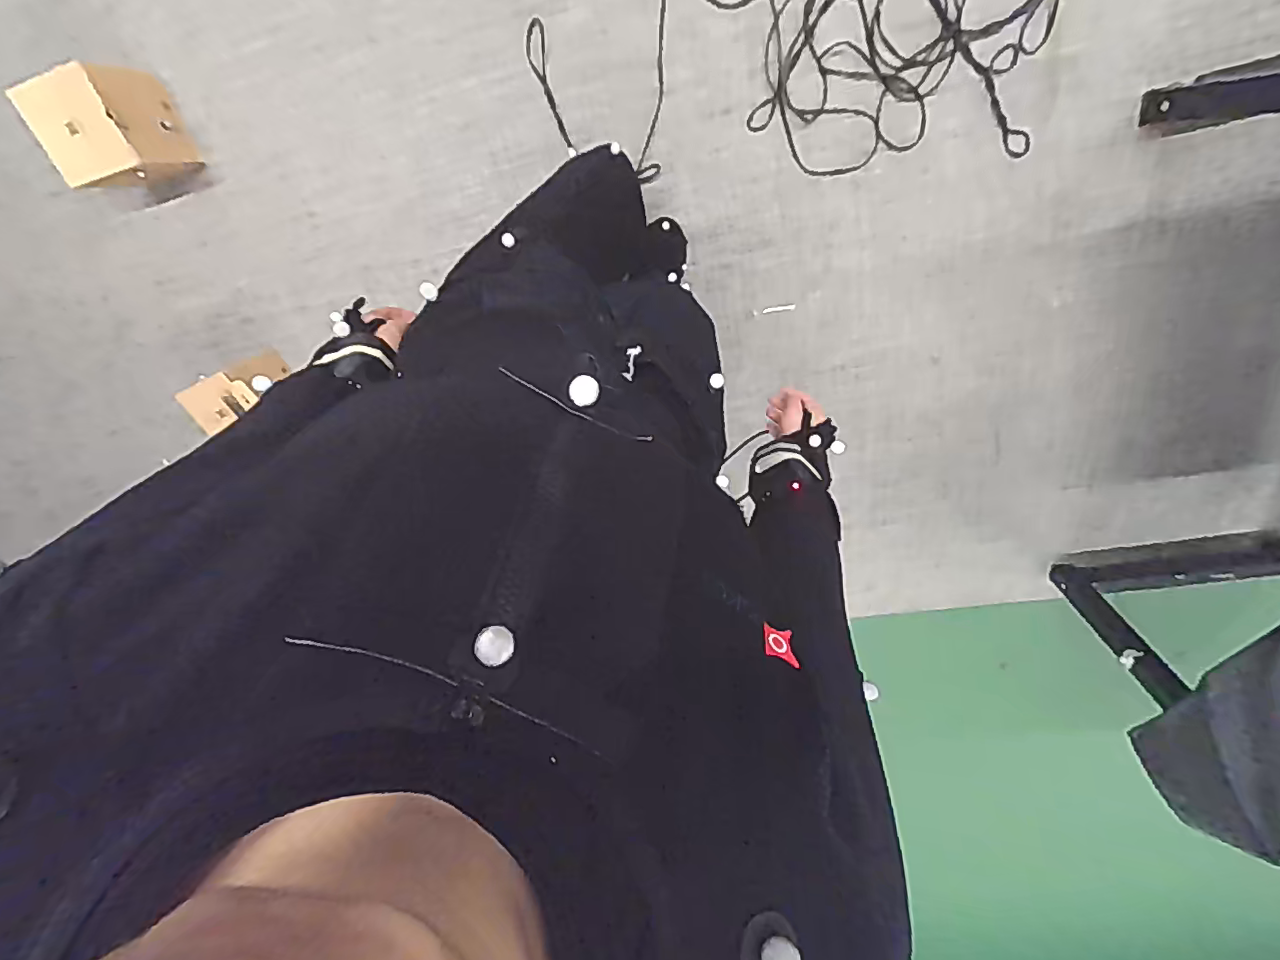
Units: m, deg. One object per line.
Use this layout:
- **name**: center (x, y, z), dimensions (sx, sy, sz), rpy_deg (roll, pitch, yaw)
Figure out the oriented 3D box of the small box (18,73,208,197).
- **small box**: center (-1.035, -0.678, 1.082), dimensions (0.179, 0.176, 0.168), rpy_deg (-11, 118, 11)
